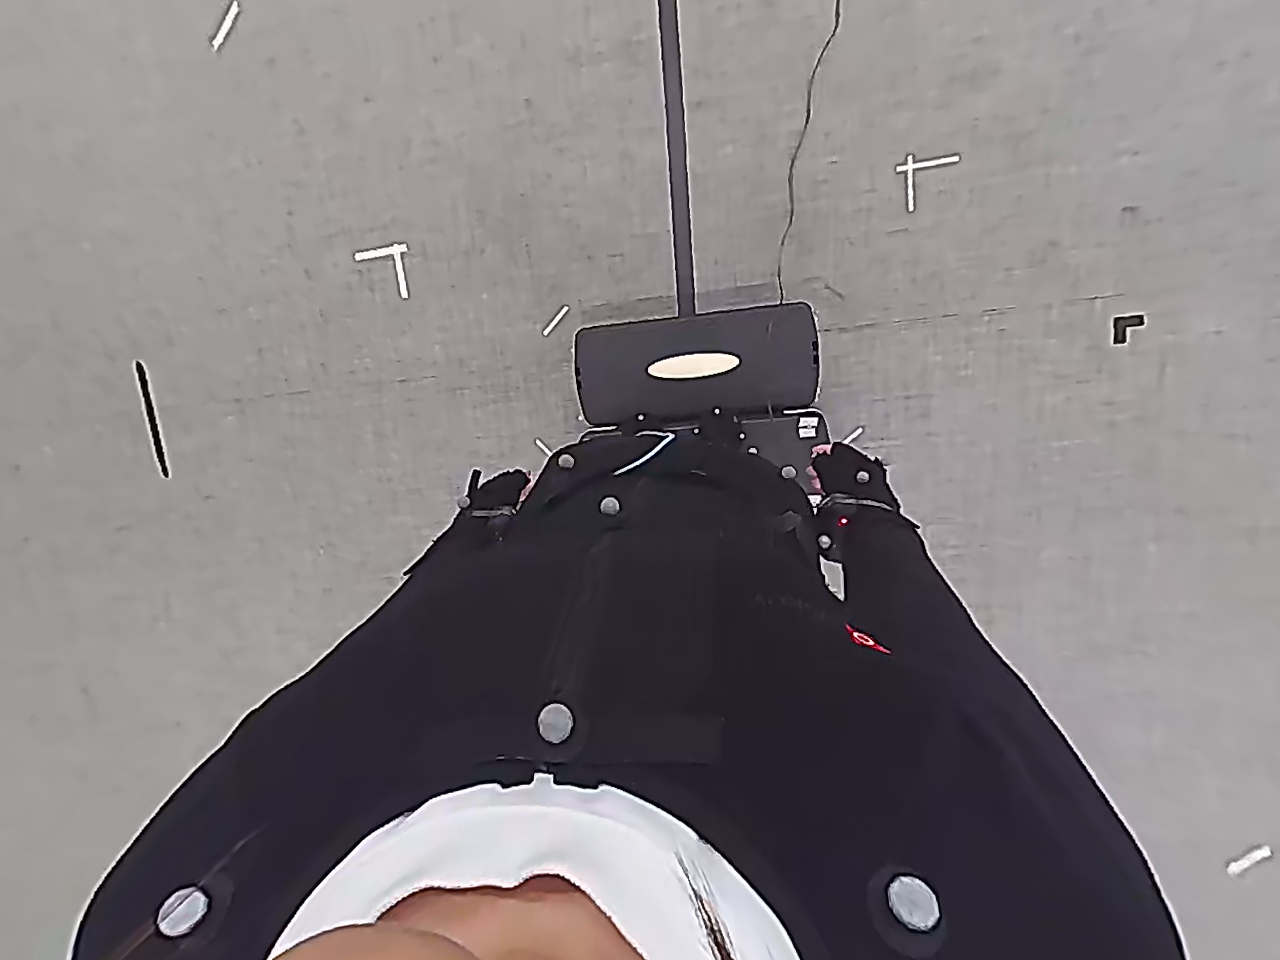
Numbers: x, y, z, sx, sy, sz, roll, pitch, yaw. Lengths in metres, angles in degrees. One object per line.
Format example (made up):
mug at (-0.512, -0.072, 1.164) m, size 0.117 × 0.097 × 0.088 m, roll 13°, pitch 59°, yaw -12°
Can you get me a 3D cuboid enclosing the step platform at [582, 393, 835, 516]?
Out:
step platform at (0.182, -0.067, 1.508) m, size 0.684 × 0.204 × 0.286 m, roll -5°, pitch 97°, yaw 10°
